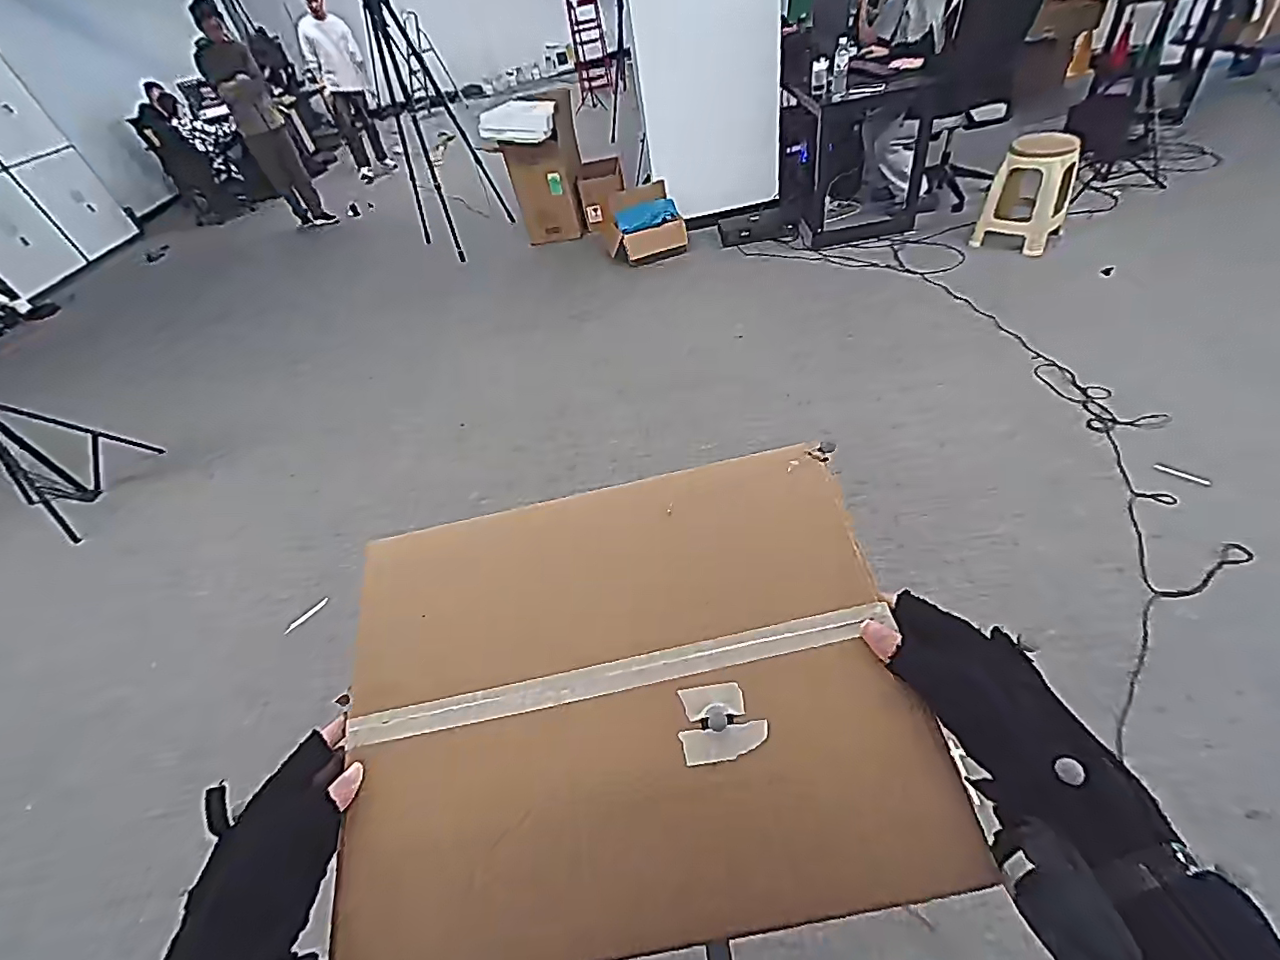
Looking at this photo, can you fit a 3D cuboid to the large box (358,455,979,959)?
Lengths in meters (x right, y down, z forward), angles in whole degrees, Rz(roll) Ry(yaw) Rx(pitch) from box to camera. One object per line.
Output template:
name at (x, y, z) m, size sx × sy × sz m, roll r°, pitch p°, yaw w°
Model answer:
large box at (0.007, 0.225, 0.534) m, size 0.408 × 0.320 × 0.320 m, roll -13°, pitch 60°, yaw 1°
